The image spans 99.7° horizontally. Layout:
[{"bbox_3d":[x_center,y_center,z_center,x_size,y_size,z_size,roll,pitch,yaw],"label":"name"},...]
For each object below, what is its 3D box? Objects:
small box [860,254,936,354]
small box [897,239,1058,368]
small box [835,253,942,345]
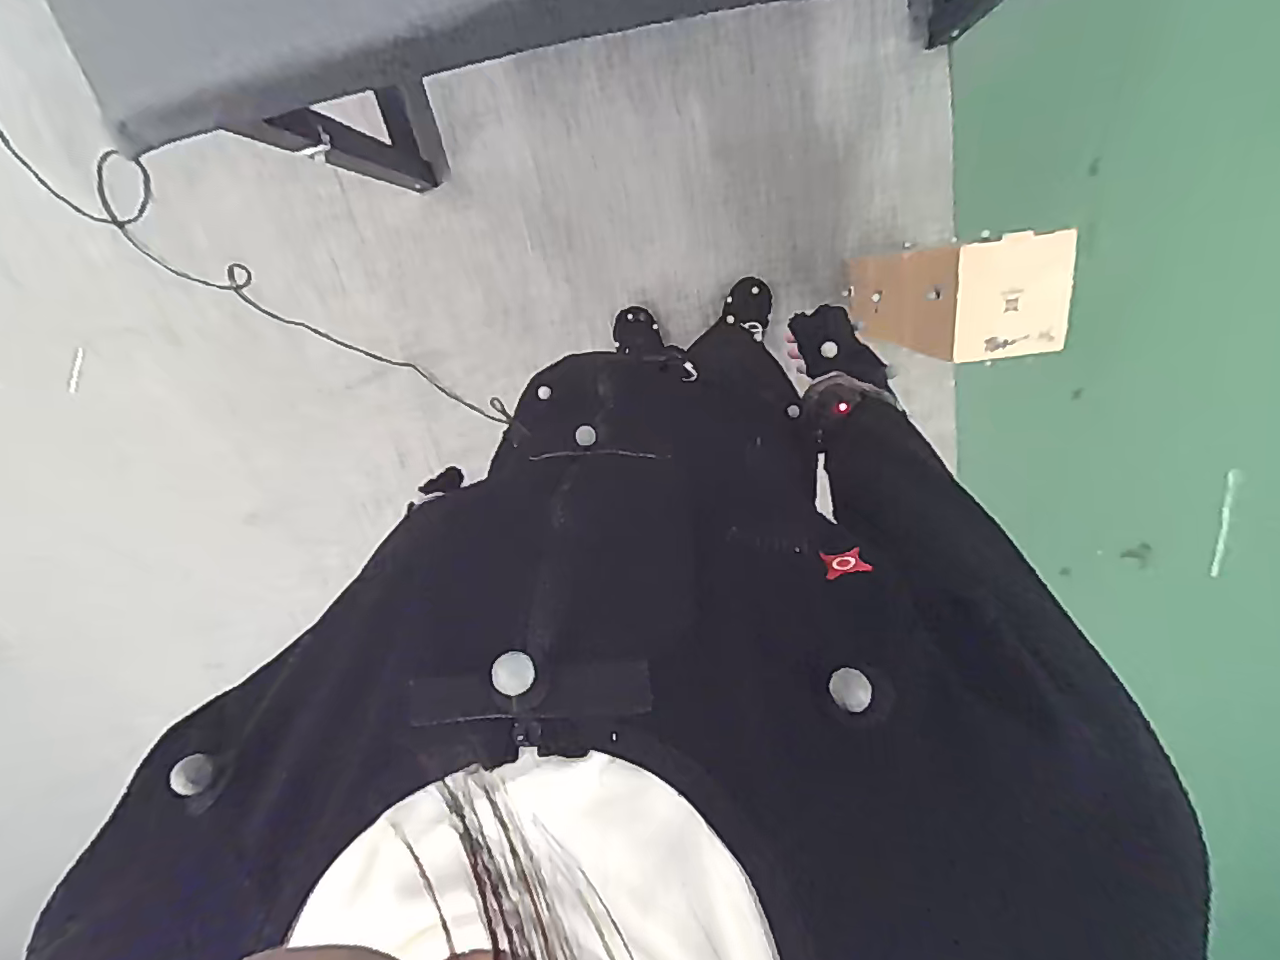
[{"bbox_3d":[0.547,-0.347,1.051,0.179,0.176,0.168,-6,109,5],"label":"small box"},{"bbox_3d":[0.545,-0.289,0.899,0.168,0.176,0.179,-5,108,5],"label":"small box"},{"bbox_3d":[0.549,-0.404,1.206,0.179,0.176,0.168,-7,109,6],"label":"small box"}]
